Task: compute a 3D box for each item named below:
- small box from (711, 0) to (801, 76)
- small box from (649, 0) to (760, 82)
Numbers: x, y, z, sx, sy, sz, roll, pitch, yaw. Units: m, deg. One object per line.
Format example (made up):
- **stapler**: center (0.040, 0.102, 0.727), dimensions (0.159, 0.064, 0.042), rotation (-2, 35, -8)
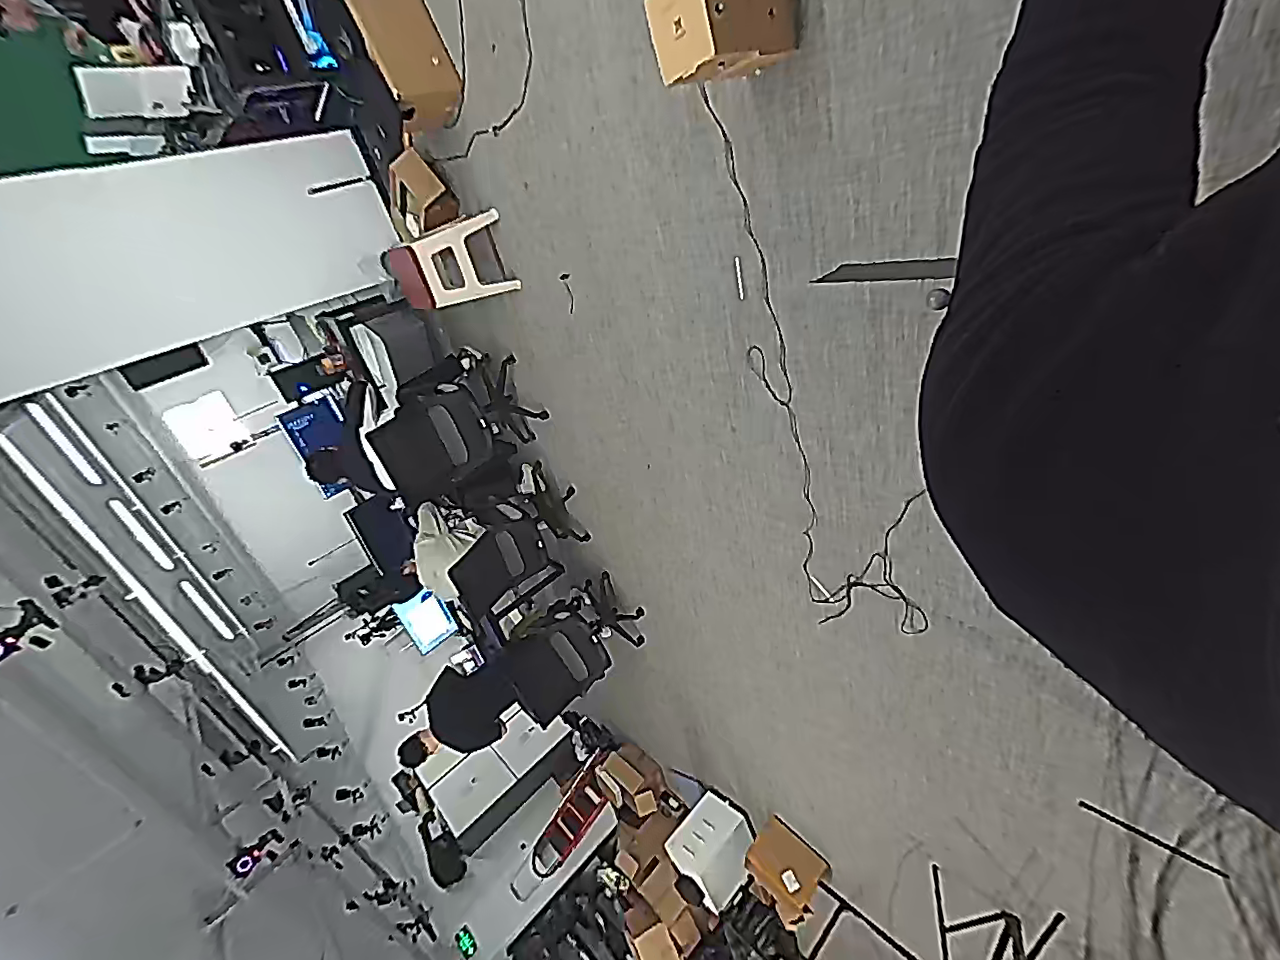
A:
- **small box**: center (0.269, -1.123, 1.317), dimensions (0.168, 0.176, 0.179), rotation (15, 132, 48)
- **small box**: center (0.151, -1.049, 1.233), dimensions (0.168, 0.176, 0.179), rotation (11, 126, 49)
